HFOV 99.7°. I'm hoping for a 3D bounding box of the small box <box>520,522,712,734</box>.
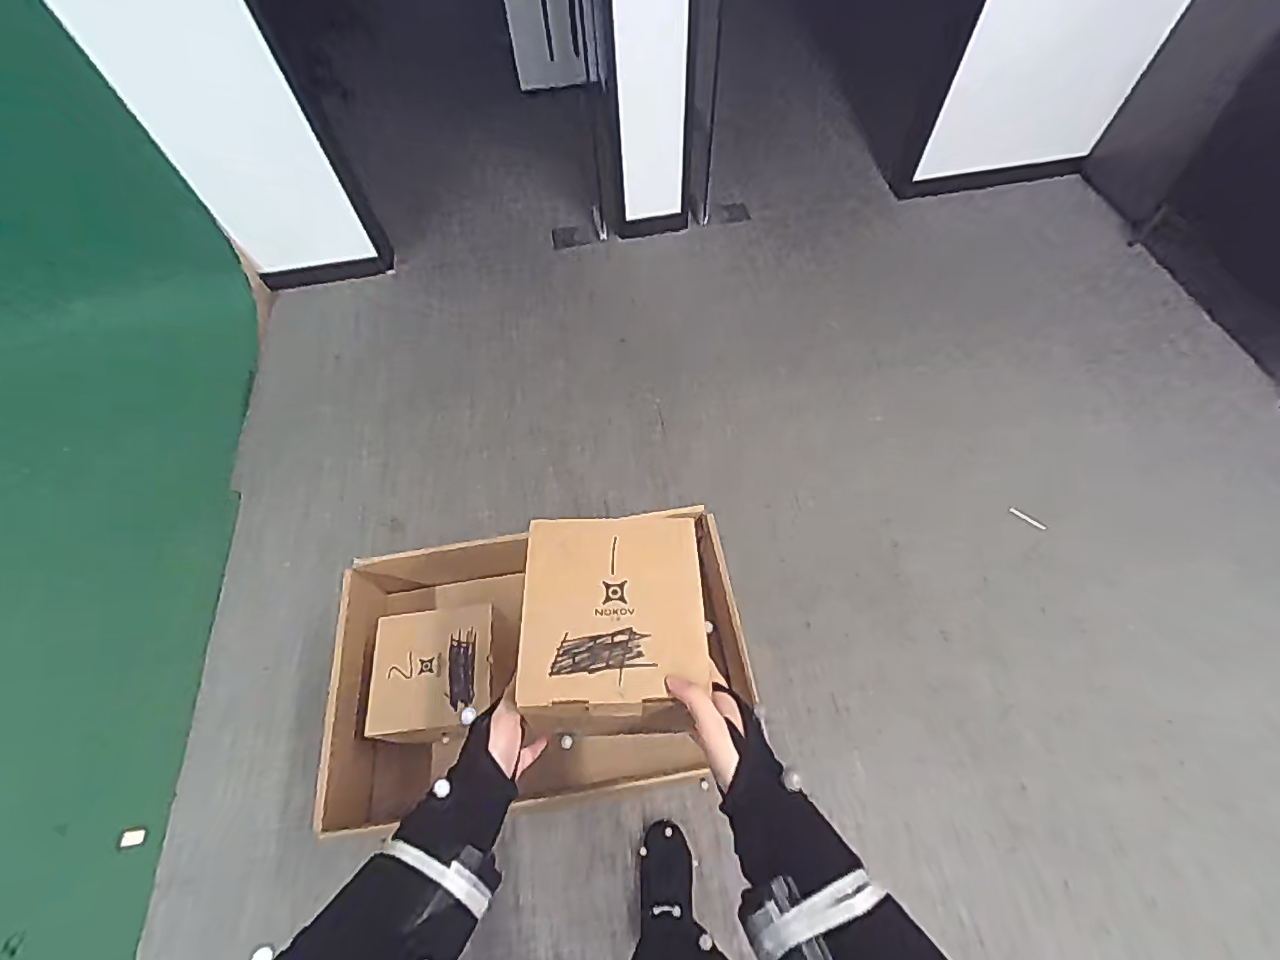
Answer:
[{"bbox_3d":[-0.024,0.160,0.564,0.168,0.176,0.179,-1,55,-3],"label":"small box"}]
